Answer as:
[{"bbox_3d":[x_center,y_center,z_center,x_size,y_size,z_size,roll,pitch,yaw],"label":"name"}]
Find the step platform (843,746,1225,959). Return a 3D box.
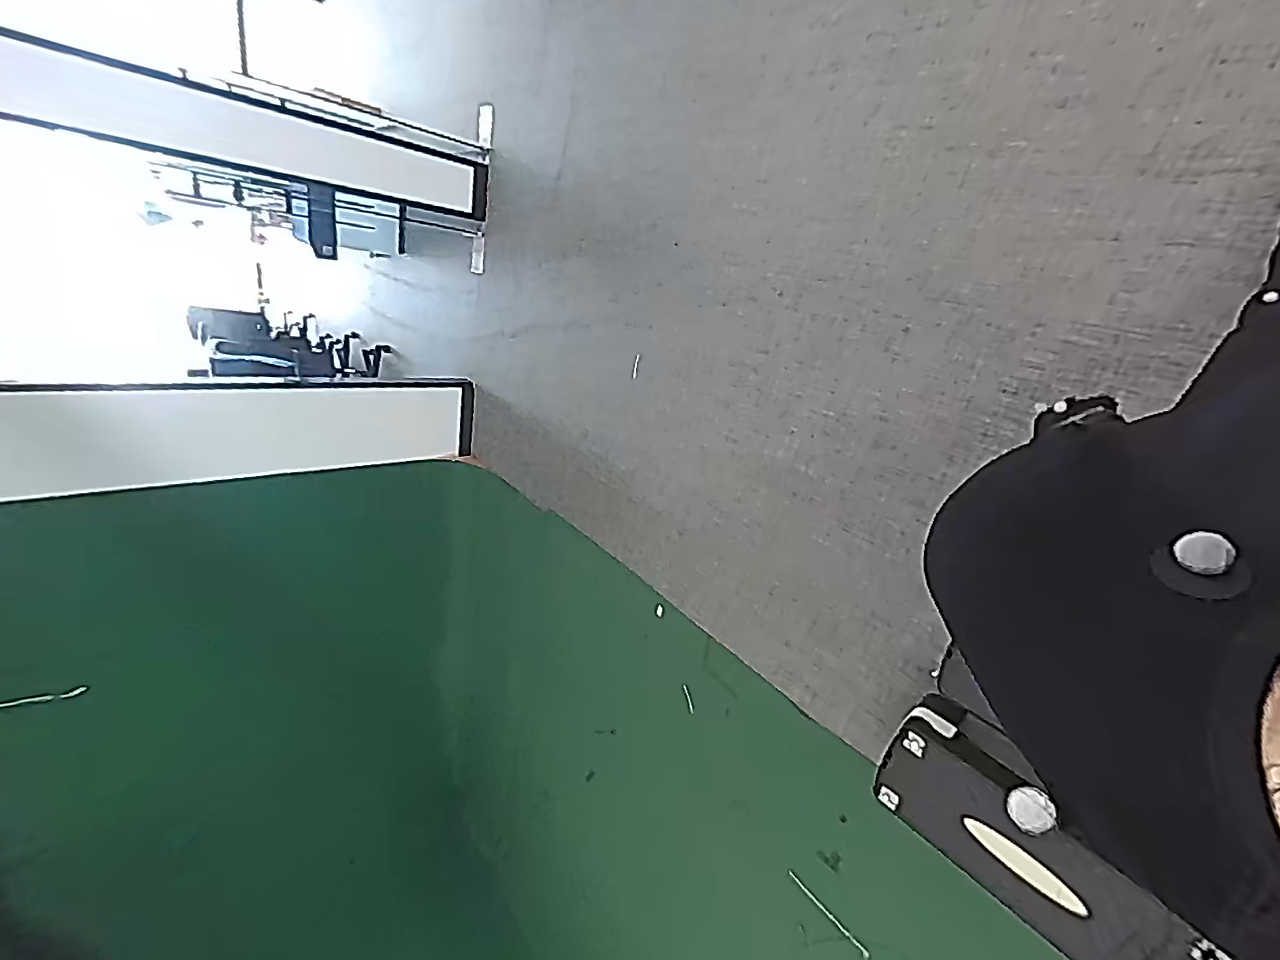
[{"bbox_3d":[0.798,0.901,1.126,0.684,0.204,0.286,30,118,40],"label":"step platform"}]
